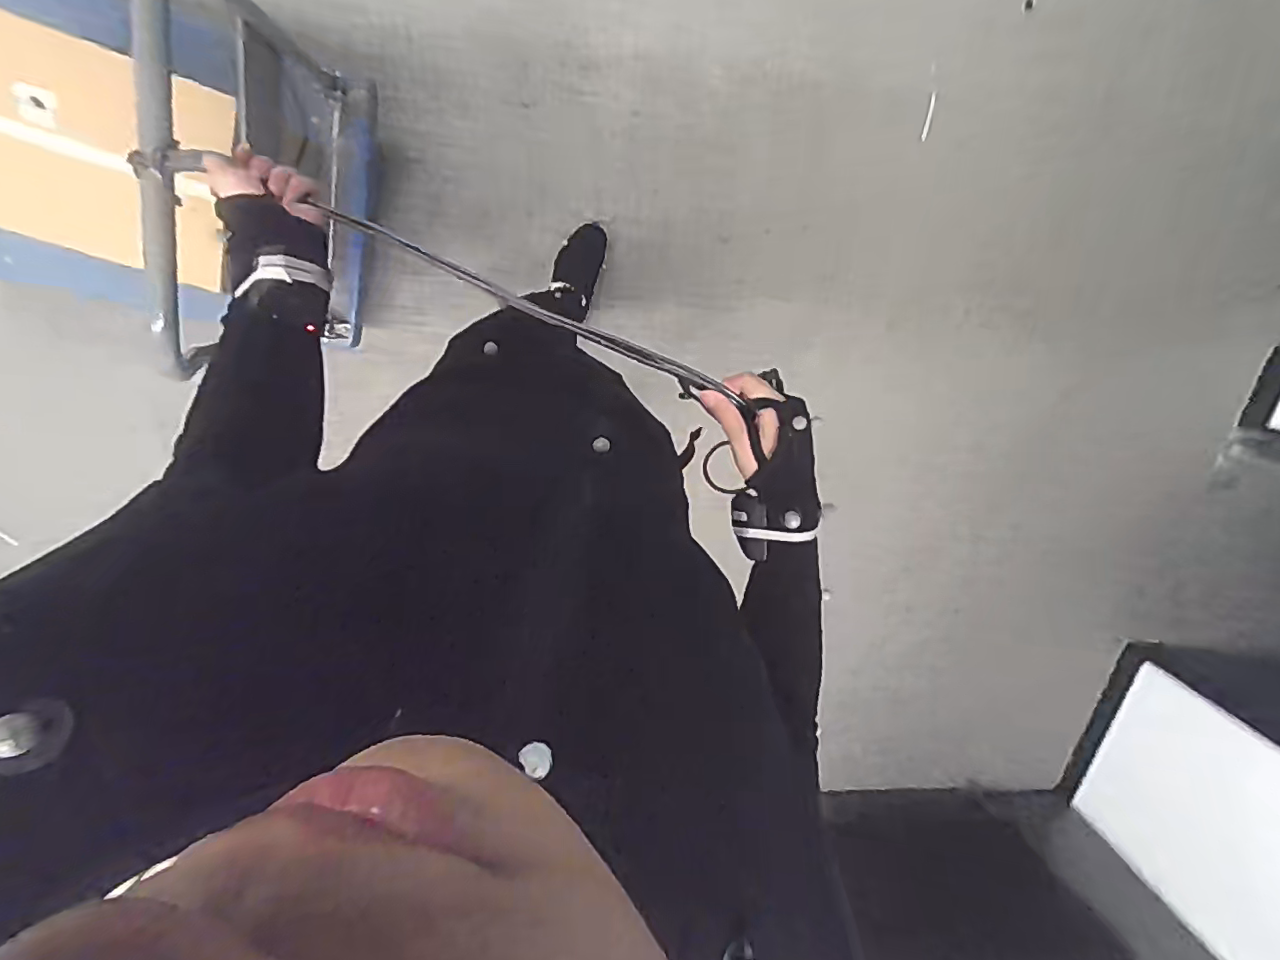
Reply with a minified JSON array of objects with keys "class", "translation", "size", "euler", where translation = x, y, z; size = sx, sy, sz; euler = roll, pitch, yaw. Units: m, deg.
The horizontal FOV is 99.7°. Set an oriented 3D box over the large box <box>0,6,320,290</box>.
[{"class":"large box","translation":[-0.874,-0.568,0.988],"size":[0.408,0.320,0.320],"euler":[16,107,-13]}]
